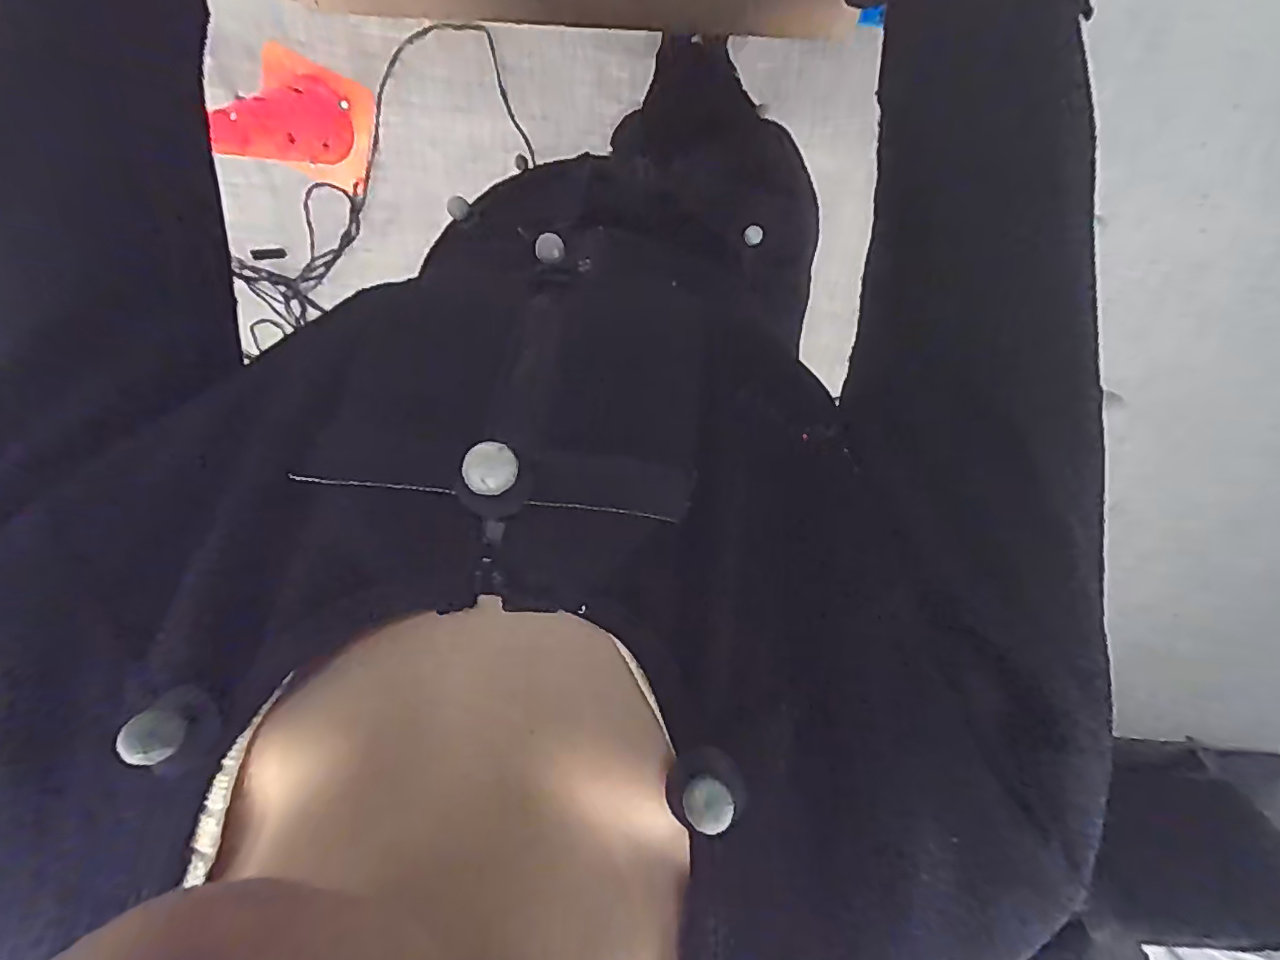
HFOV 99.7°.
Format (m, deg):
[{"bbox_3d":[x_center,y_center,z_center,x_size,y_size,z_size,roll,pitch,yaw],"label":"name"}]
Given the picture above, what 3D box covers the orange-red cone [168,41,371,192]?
[{"bbox_3d":[-0.643,-0.600,0.908,0.199,0.360,0.198,23,122,-11],"label":"orange-red cone"}]
